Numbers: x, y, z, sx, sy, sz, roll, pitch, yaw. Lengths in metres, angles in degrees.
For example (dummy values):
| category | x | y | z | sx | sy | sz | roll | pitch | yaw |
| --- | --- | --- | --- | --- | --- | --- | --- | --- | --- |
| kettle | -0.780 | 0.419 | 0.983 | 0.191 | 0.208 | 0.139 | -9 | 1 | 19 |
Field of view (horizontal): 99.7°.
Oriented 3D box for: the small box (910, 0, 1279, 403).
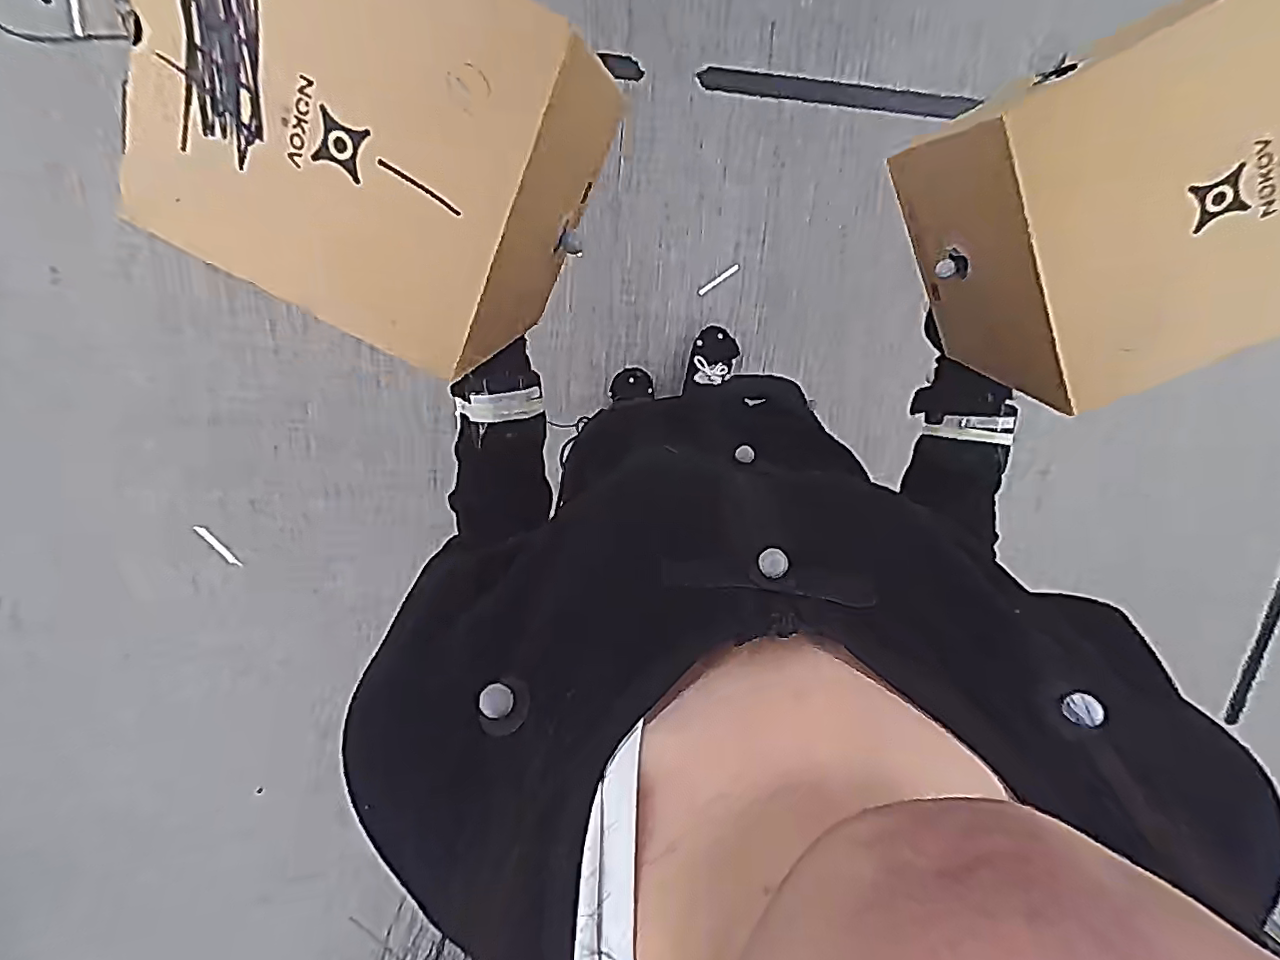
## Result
| category | x | y | z | sx | sy | sz | roll | pitch | yaw |
| --- | --- | --- | --- | --- | --- | --- | --- | --- | --- |
| small box | 0.290 | -0.174 | 0.329 | 0.179 | 0.176 | 0.168 | -24 | 111 | 15 |

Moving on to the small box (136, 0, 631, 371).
| category | x | y | z | sx | sy | sz | roll | pitch | yaw |
| --- | --- | --- | --- | --- | --- | --- | --- | --- | --- |
| small box | -0.122 | -0.191 | 0.307 | 0.179 | 0.176 | 0.168 | 26 | 117 | -7 |
